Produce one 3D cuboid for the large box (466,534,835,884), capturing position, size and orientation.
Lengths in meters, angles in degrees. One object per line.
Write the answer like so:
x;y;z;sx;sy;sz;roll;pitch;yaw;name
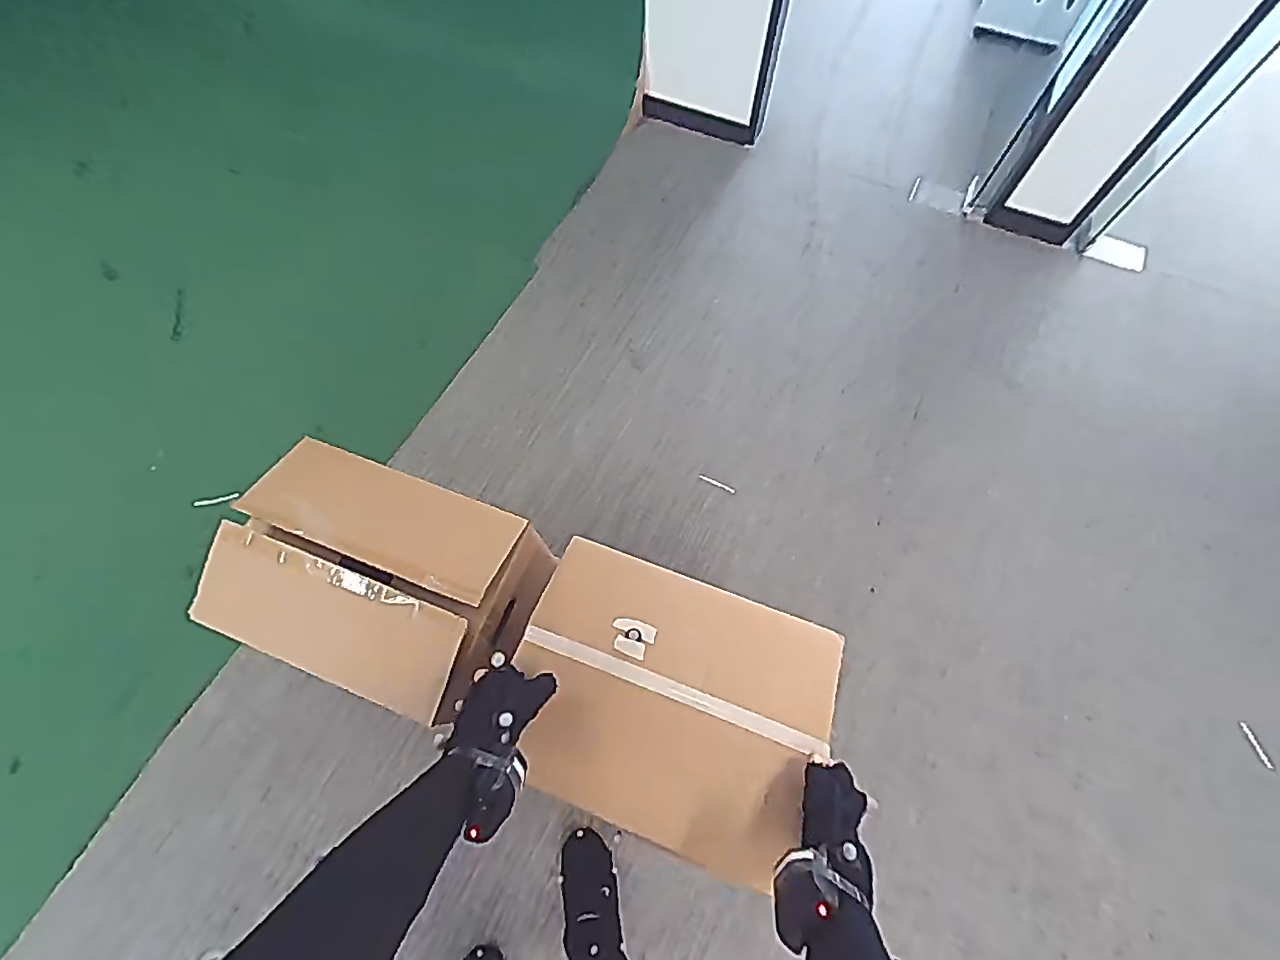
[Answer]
0.027;0.334;0.810;0.408;0.320;0.320;18;58;10;large box
